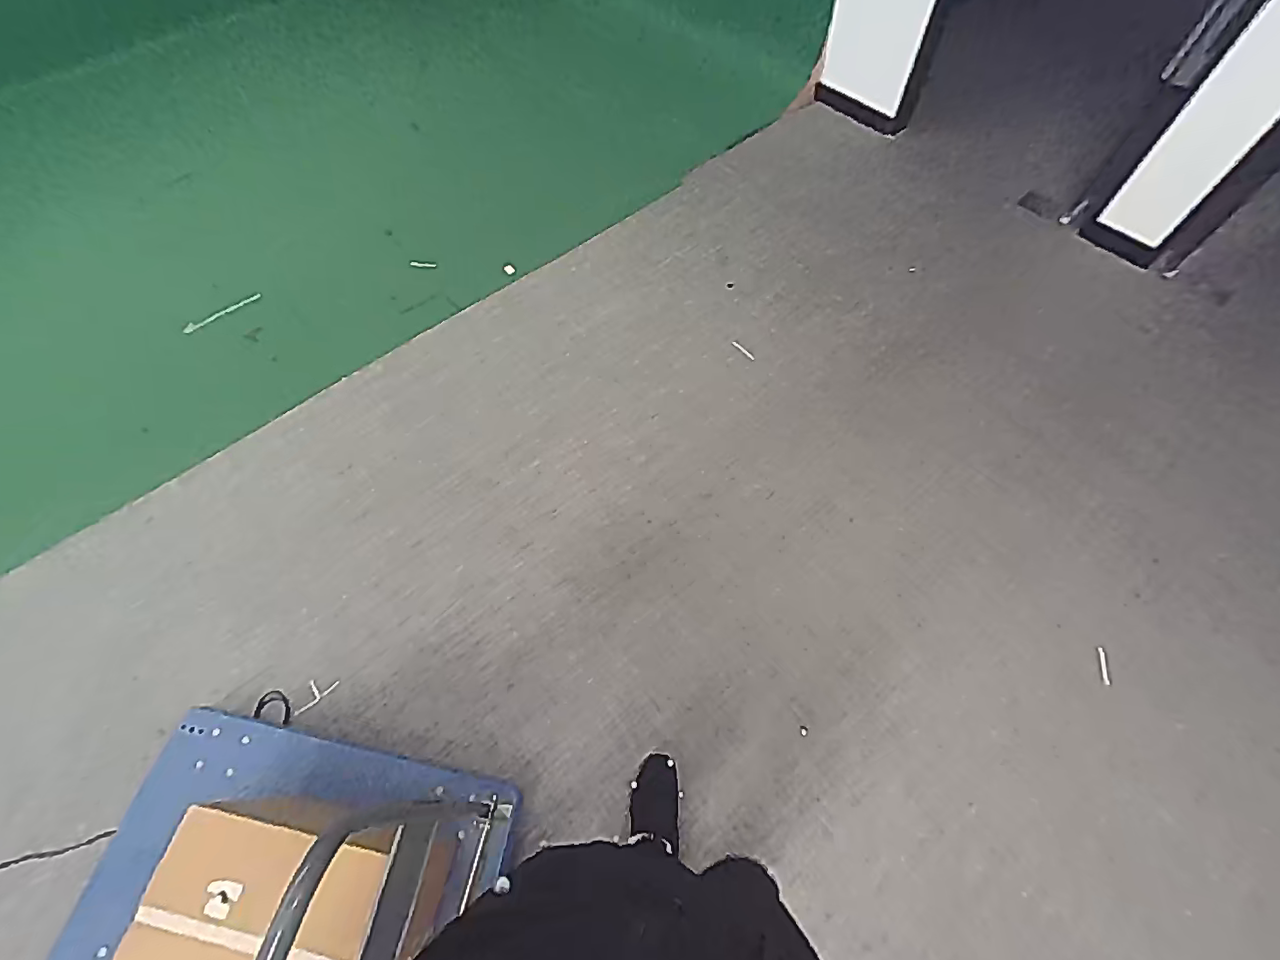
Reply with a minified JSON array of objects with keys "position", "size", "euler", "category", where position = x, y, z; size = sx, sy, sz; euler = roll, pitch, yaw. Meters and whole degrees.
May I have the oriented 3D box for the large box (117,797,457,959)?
[{"position":[-0.620,0.808,1.000],"size":[0.408,0.320,0.320],"euler":[9,62,8],"category":"large box"}]
